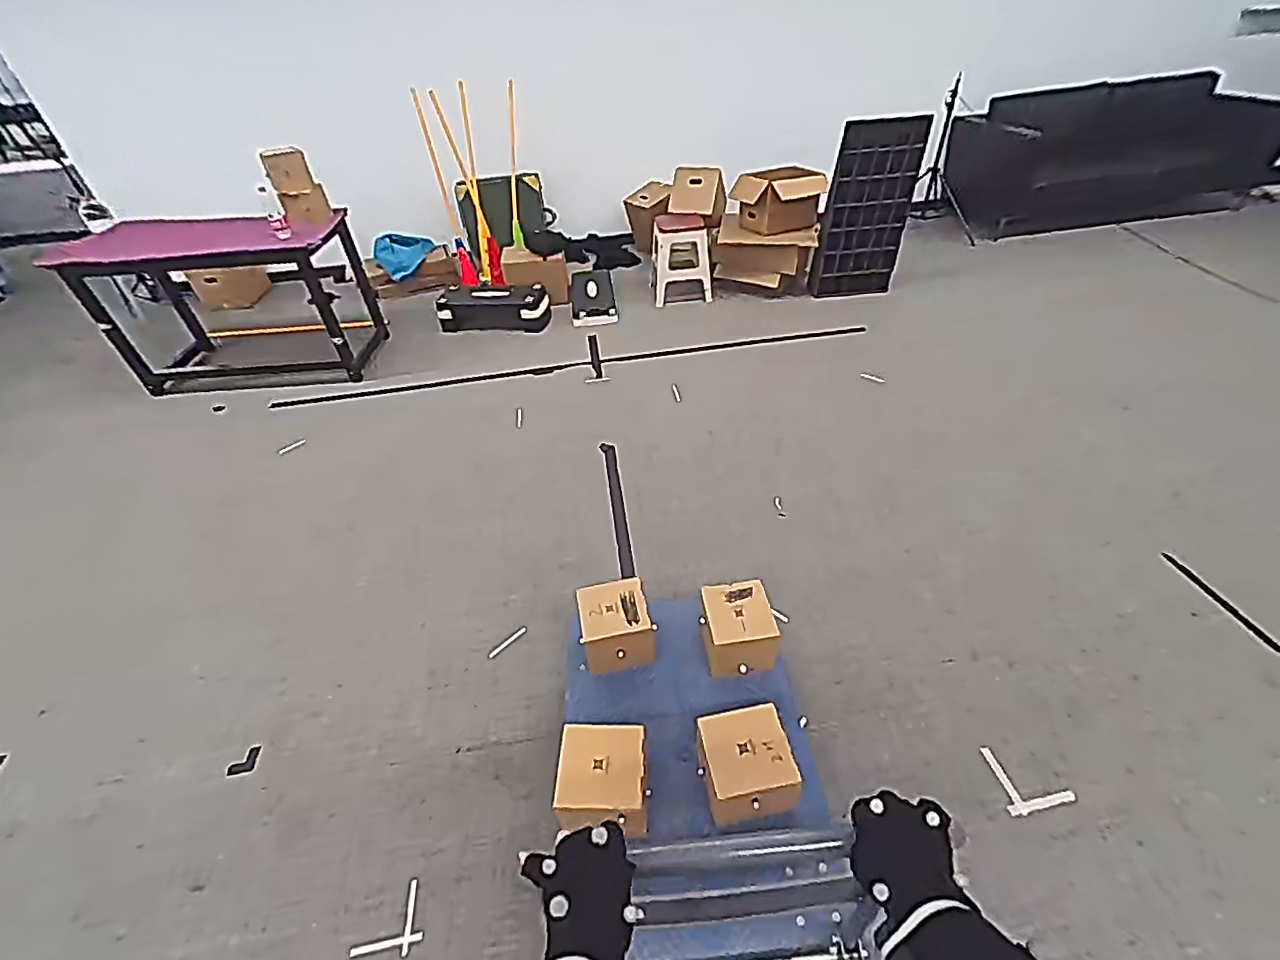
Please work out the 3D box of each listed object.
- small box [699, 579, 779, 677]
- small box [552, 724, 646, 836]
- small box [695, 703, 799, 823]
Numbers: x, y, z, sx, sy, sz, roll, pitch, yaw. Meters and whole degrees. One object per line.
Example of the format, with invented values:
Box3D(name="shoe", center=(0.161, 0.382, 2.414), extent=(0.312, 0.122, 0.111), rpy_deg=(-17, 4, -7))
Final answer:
Box3D(name="small box", center=(0.251, 0.388, 1.420), extent=(0.168, 0.176, 0.179), rpy_deg=(-8, 42, -3))
Box3D(name="small box", center=(-0.079, 0.643, 1.160), extent=(0.179, 0.176, 0.168), rpy_deg=(-1, 41, 3))
Box3D(name="small box", center=(0.223, 0.613, 1.166), extent=(0.179, 0.176, 0.168), rpy_deg=(-9, 41, -5))
